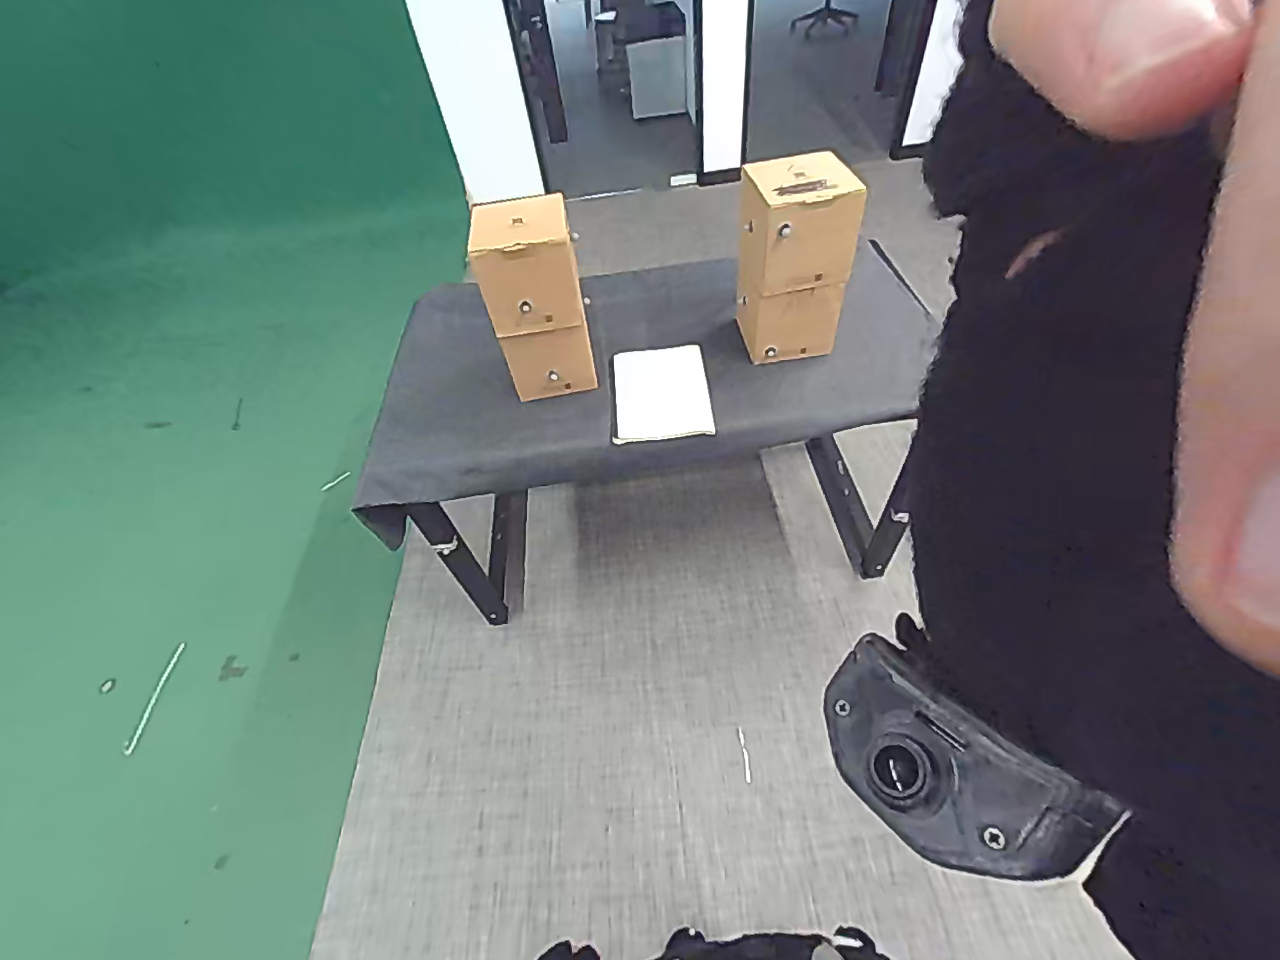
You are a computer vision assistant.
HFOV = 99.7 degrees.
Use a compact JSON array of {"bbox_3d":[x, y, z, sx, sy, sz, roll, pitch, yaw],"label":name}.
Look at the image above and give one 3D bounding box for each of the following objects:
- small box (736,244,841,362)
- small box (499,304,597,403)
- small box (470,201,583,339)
[{"bbox_3d":[0.301,-0.363,1.132,0.168,0.176,0.179,-8,49,0],"label":"small box"},{"bbox_3d":[-0.189,-0.288,1.126,0.168,0.176,0.179,-11,50,-2],"label":"small box"},{"bbox_3d":[-0.202,-0.385,0.997,0.168,0.176,0.179,-10,50,-2],"label":"small box"}]
